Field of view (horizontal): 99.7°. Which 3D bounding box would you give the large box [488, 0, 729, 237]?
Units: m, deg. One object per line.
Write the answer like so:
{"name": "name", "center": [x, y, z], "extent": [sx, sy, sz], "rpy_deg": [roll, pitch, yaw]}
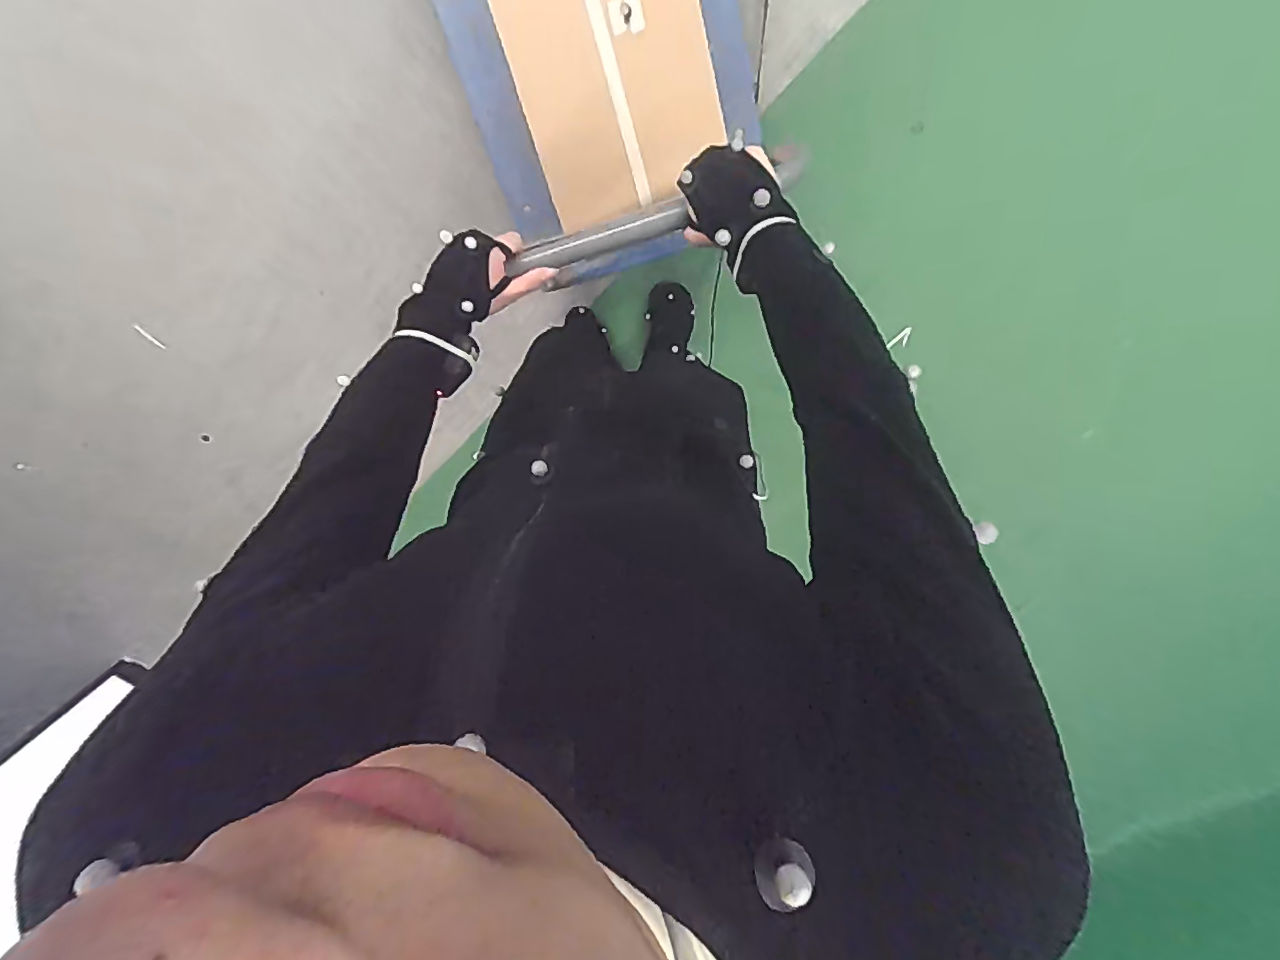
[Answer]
{"name": "large box", "center": [-0.034, -0.716, 1.023], "extent": [0.320, 0.320, 0.408], "rpy_deg": [-13, 113, 11]}
